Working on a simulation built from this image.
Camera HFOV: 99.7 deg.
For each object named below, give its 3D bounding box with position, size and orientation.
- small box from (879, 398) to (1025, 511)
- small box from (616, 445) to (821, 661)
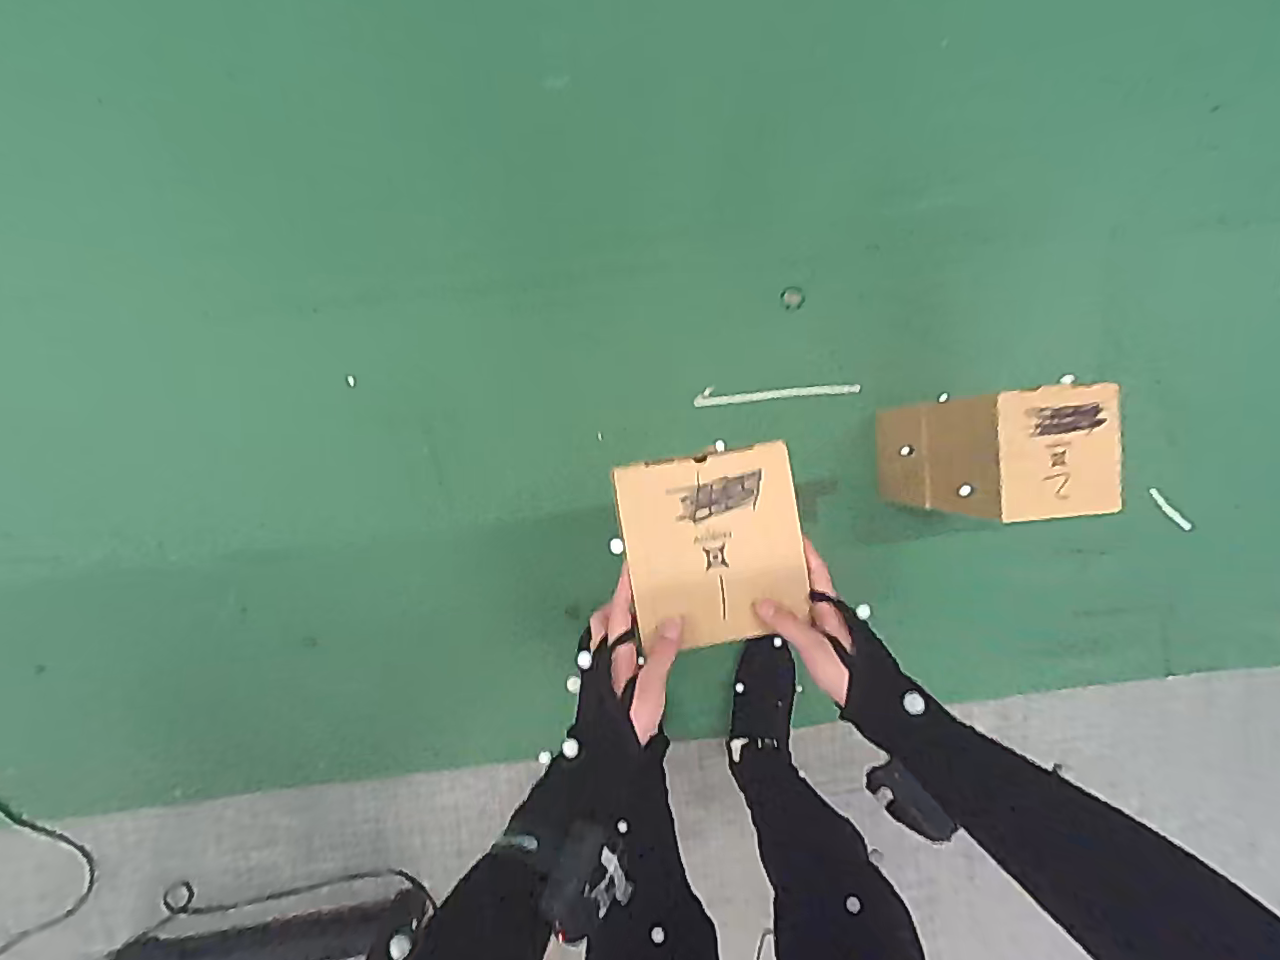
[{"bbox_3d":[0.541,-0.045,0.958,0.168,0.176,0.179,-4,94,-2],"label":"small box"},{"bbox_3d":[0.068,0.066,0.567,0.168,0.176,0.179,-9,91,-3],"label":"small box"}]
